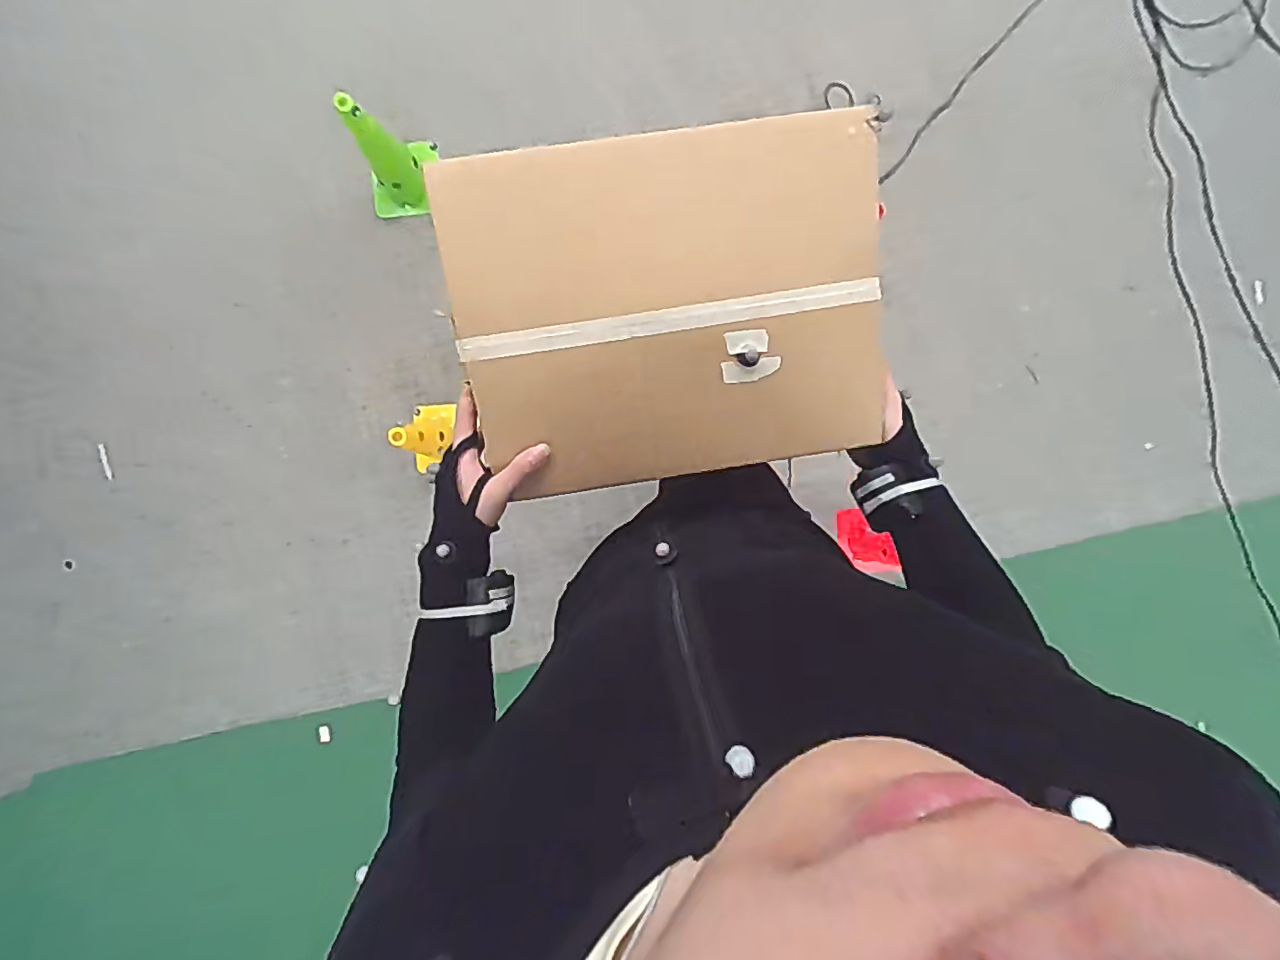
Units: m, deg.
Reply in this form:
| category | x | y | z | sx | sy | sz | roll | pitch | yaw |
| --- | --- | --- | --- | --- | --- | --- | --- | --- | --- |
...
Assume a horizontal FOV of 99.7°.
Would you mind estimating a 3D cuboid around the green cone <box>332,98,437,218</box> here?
| category | x | y | z | sx | sy | sz | roll | pitch | yaw |
| --- | --- | --- | --- | --- | --- | --- | --- | --- | --- |
| green cone | -0.675 | -0.851 | 1.382 | 0.200 | 0.368 | 0.202 | -7 | 94 | 0 |

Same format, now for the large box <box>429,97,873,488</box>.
| category | x | y | z | sx | sy | sz | roll | pitch | yaw |
| --- | --- | --- | --- | --- | --- | --- | --- | --- | --- |
| large box | 0.014 | -0.208 | 0.666 | 0.408 | 0.320 | 0.320 | -10 | 107 | -3 |

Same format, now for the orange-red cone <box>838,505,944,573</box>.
| category | x | y | z | sx | sy | sz | roll | pitch | yaw |
| --- | --- | --- | --- | --- | --- | --- | --- | --- | --- |
| orange-red cone | 0.698 | 0.188 | 1.450 | 0.199 | 0.360 | 0.198 | -6 | 94 | -2 |
